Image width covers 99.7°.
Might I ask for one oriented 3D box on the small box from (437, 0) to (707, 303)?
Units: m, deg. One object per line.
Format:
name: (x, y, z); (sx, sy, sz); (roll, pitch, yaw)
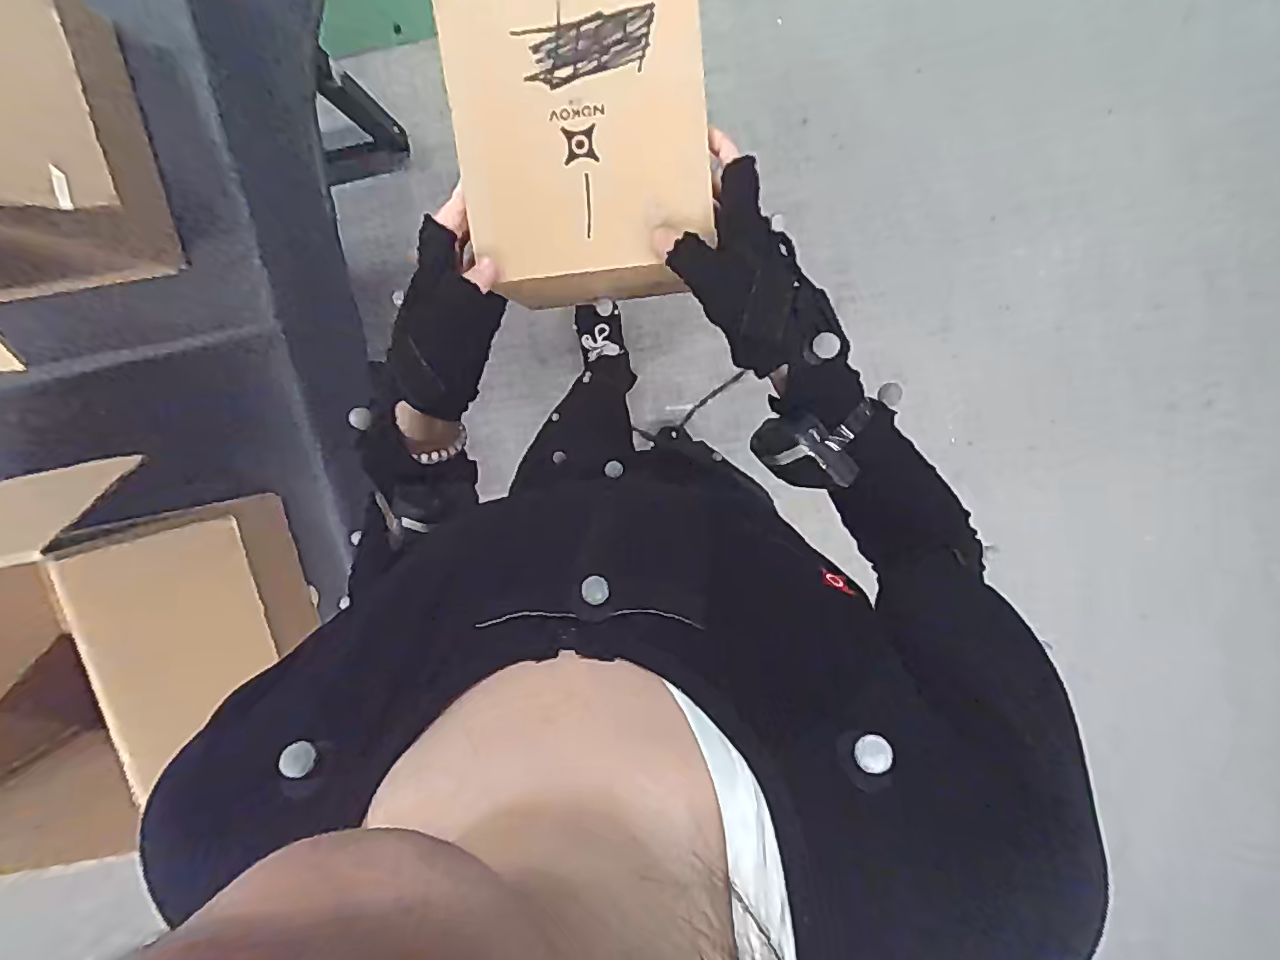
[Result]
small box: (-0.043, -0.249, 0.435); (0.168, 0.176, 0.179); (-5, 102, 1)
